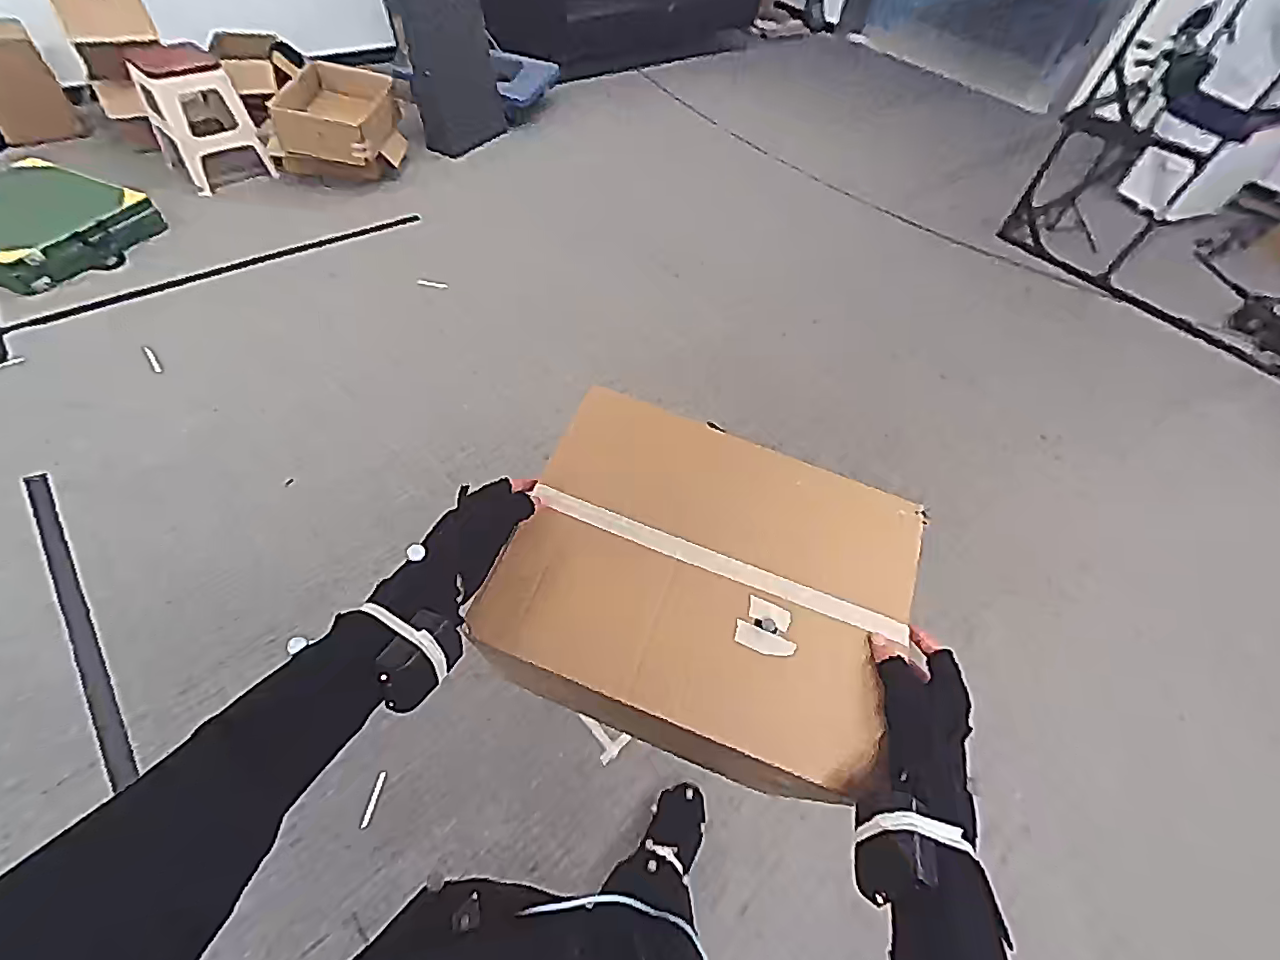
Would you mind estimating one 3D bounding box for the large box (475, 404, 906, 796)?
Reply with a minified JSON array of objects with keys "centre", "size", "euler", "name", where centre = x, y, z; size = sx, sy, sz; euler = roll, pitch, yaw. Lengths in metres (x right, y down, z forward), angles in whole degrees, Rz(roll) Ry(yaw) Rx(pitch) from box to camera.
[{"centre":[0.058,0.165,0.702],"size":[0.408,0.320,0.320],"euler":[21,63,4],"name":"large box"}]
